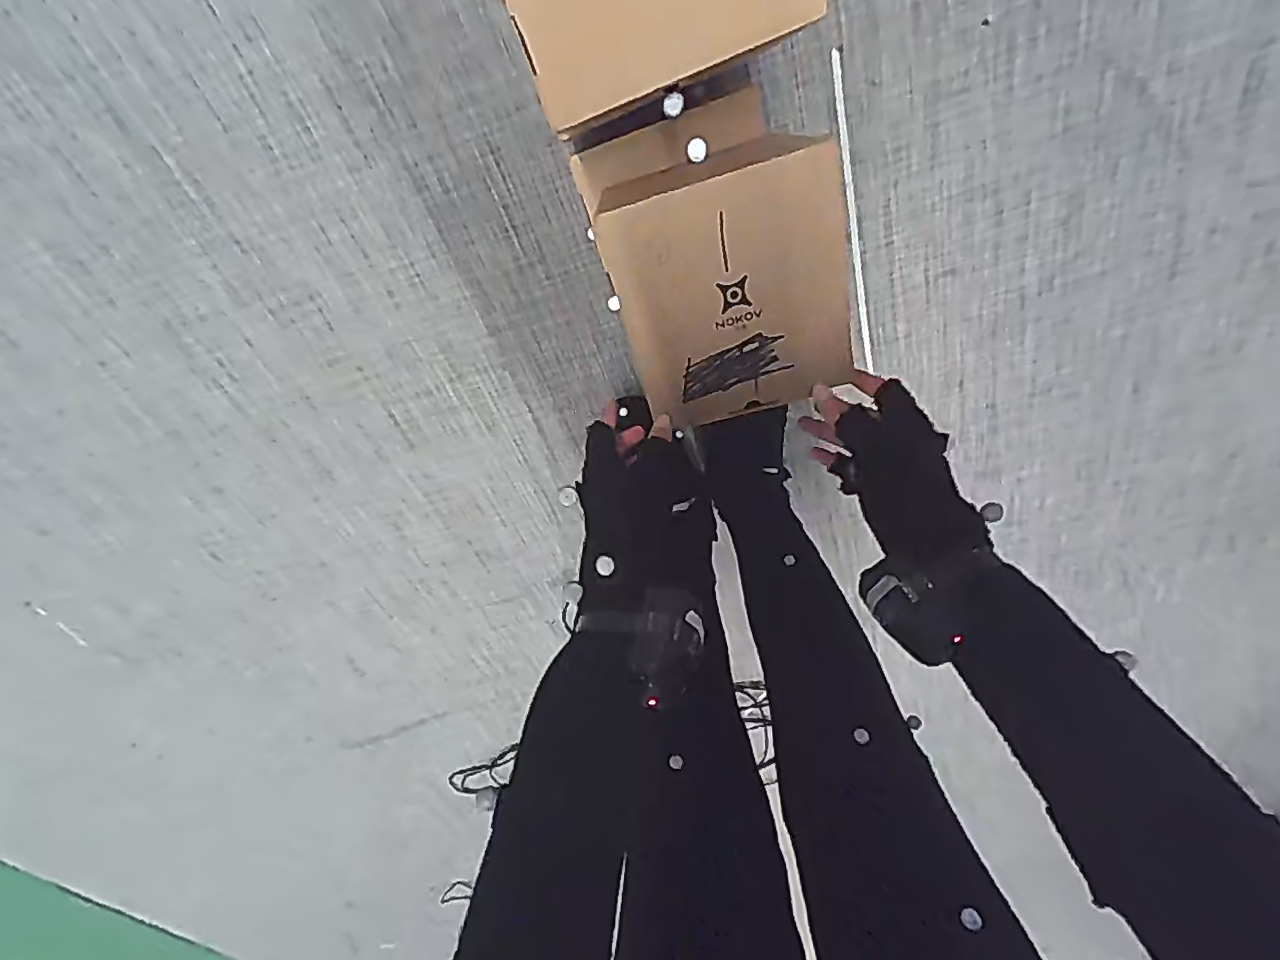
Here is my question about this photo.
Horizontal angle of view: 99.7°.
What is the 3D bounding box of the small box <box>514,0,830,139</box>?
[{"bbox_3d":[0.004,-0.351,0.357,0.179,0.176,0.168,-17,122,10],"label":"small box"}]
